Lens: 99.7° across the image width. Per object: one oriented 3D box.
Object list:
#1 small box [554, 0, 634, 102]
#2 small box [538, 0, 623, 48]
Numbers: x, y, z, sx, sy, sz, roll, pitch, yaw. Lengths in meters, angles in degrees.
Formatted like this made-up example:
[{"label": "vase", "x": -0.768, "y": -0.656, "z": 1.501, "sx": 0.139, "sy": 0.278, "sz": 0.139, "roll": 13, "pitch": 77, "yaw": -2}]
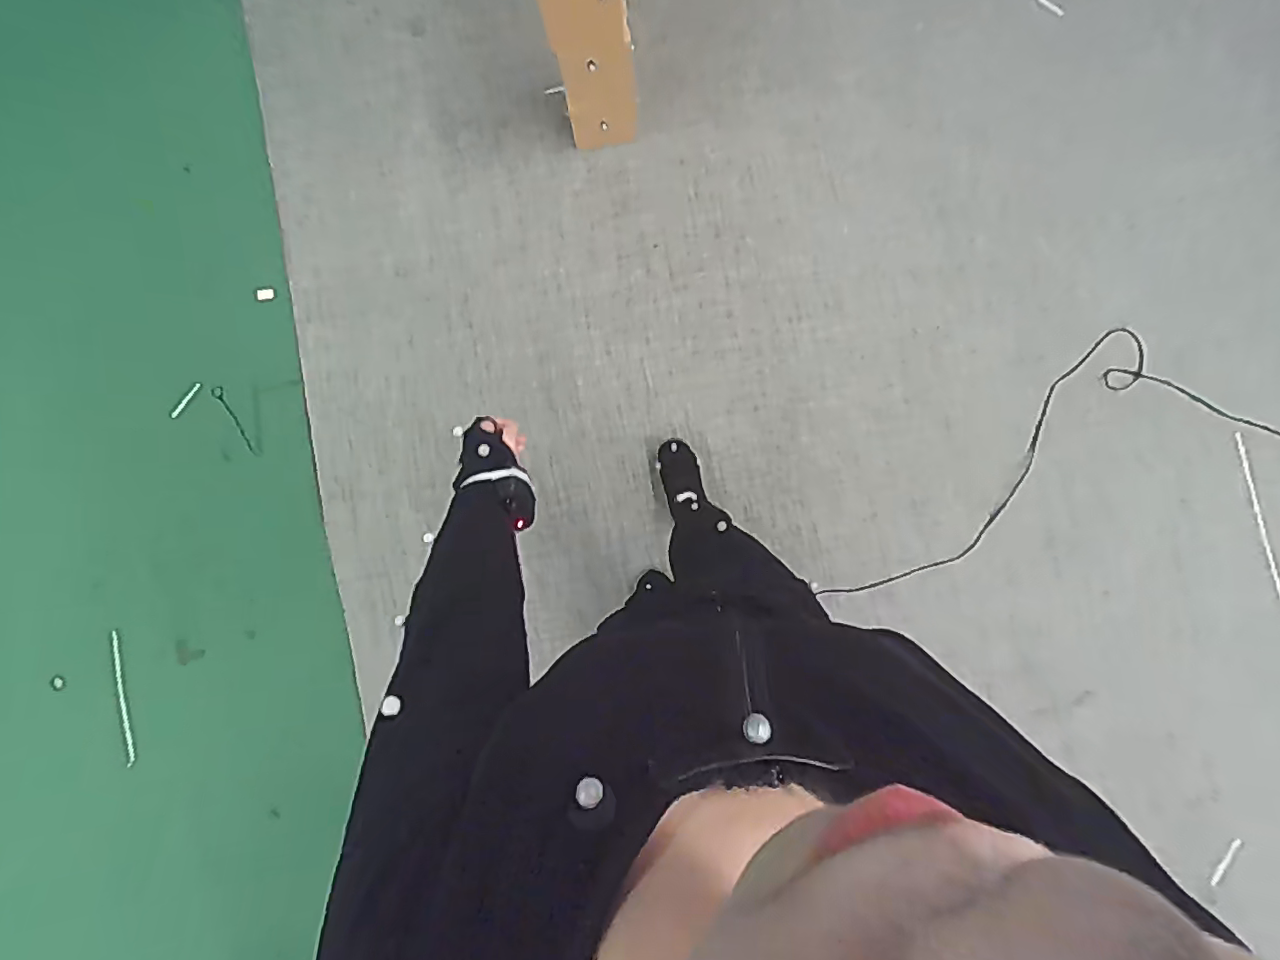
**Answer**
[{"label": "small box", "x": -0.115, "y": -1.057, "z": 1.310, "sx": 0.179, "sy": 0.176, "sz": 0.168, "roll": -8, "pitch": 88, "yaw": 1}, {"label": "small box", "x": -0.132, "y": -1.063, "z": 1.148, "sx": 0.179, "sy": 0.176, "sz": 0.168, "roll": -5, "pitch": 87, "yaw": 1}]
